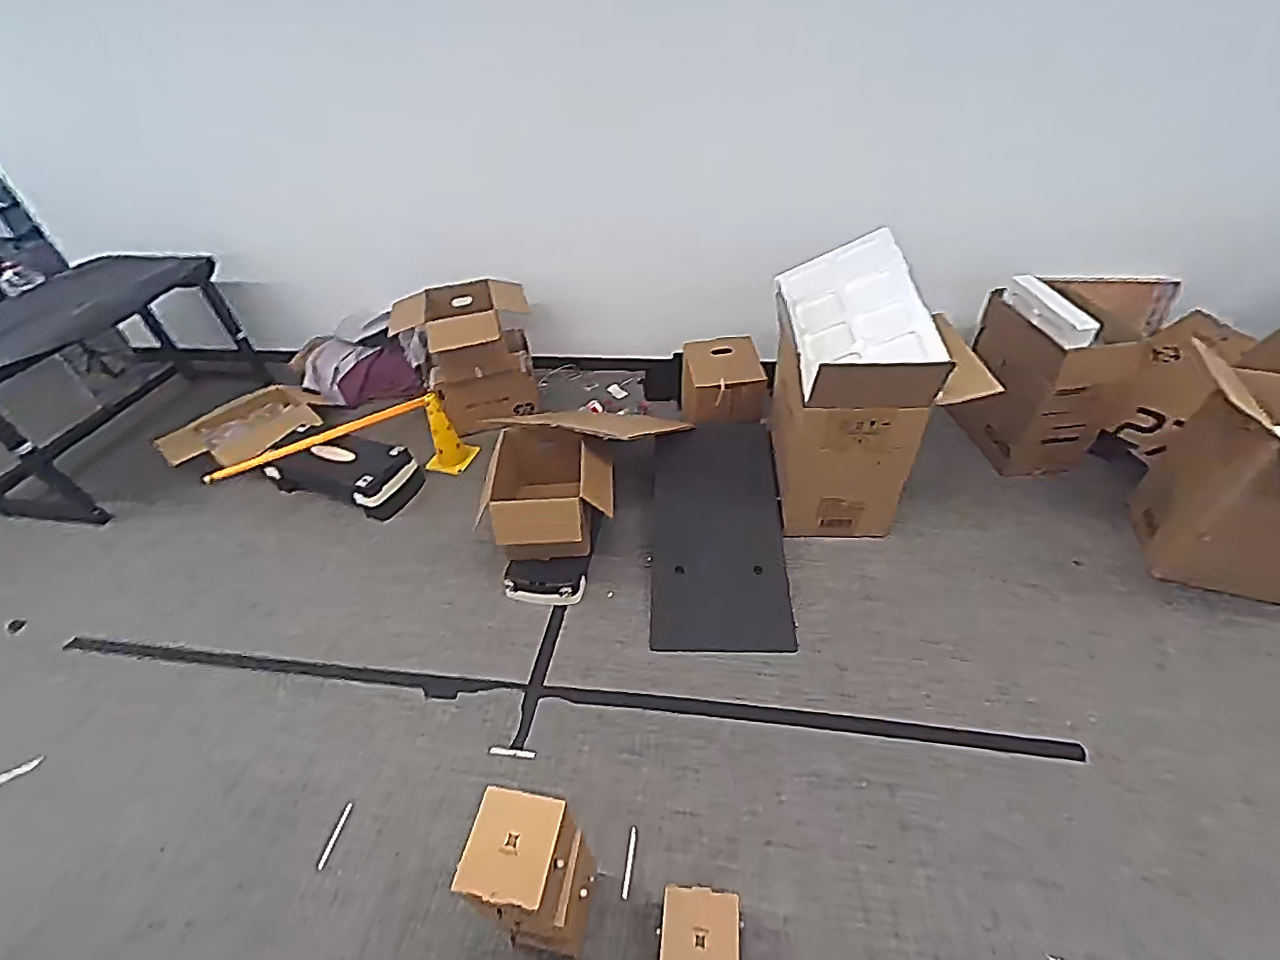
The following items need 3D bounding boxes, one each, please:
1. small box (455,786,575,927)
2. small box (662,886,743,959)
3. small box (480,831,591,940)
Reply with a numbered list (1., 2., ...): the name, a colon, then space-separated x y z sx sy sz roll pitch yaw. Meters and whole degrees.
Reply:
1. small box: -0.229 0.729 1.049 0.168 0.176 0.179 6 44 10
2. small box: 0.137 1.026 1.185 0.168 0.176 0.179 2 44 8
3. small box: -0.213 0.854 1.153 0.179 0.176 0.168 5 43 8
